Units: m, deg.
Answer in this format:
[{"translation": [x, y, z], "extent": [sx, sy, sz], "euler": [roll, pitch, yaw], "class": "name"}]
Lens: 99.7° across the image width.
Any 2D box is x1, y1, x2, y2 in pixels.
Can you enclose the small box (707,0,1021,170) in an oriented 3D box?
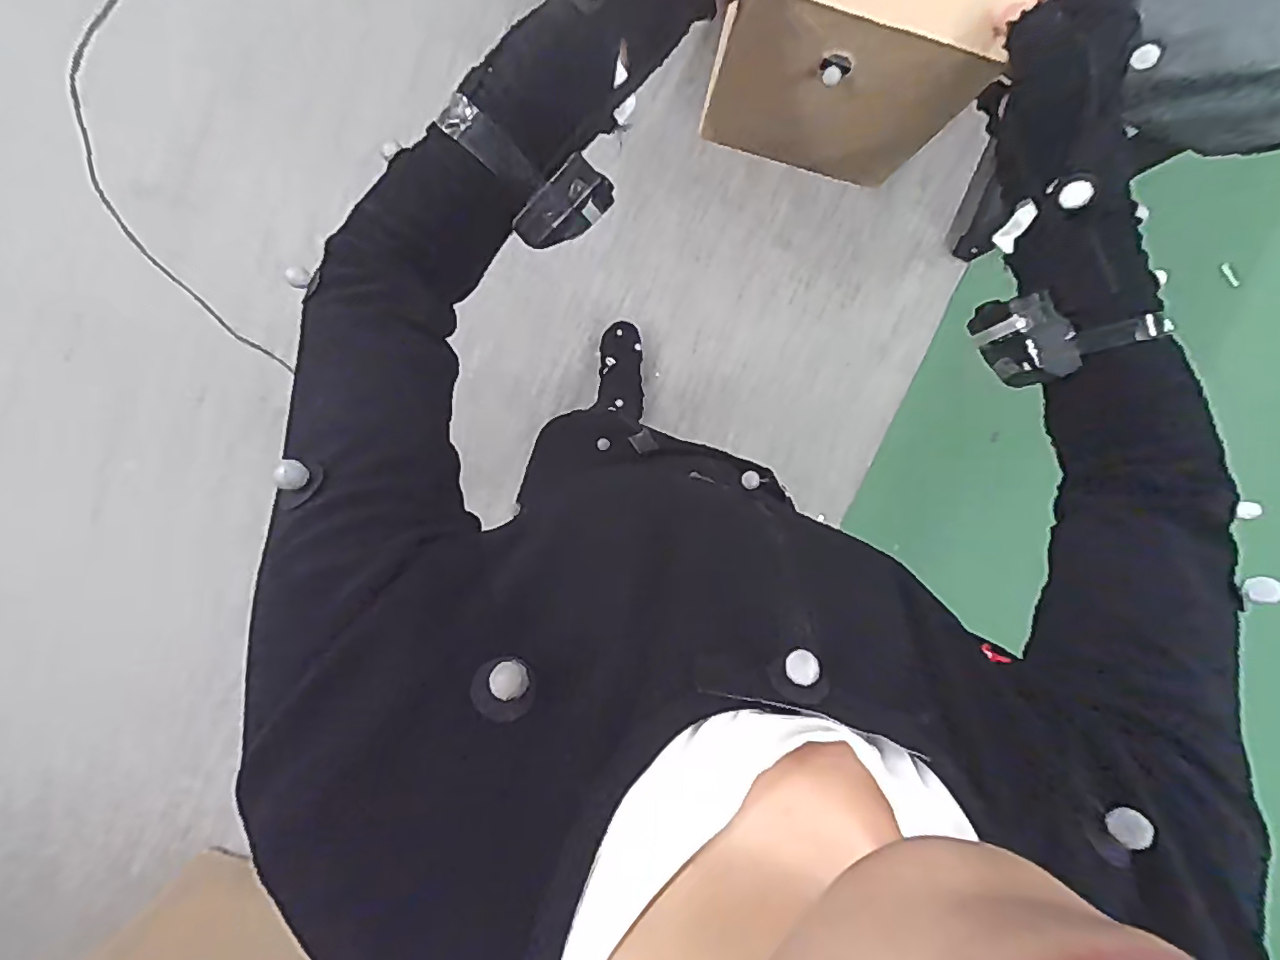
[{"translation": [0.162, -0.373, 0.413], "extent": [0.179, 0.176, 0.168], "euler": [13, 92, -6], "class": "small box"}]
